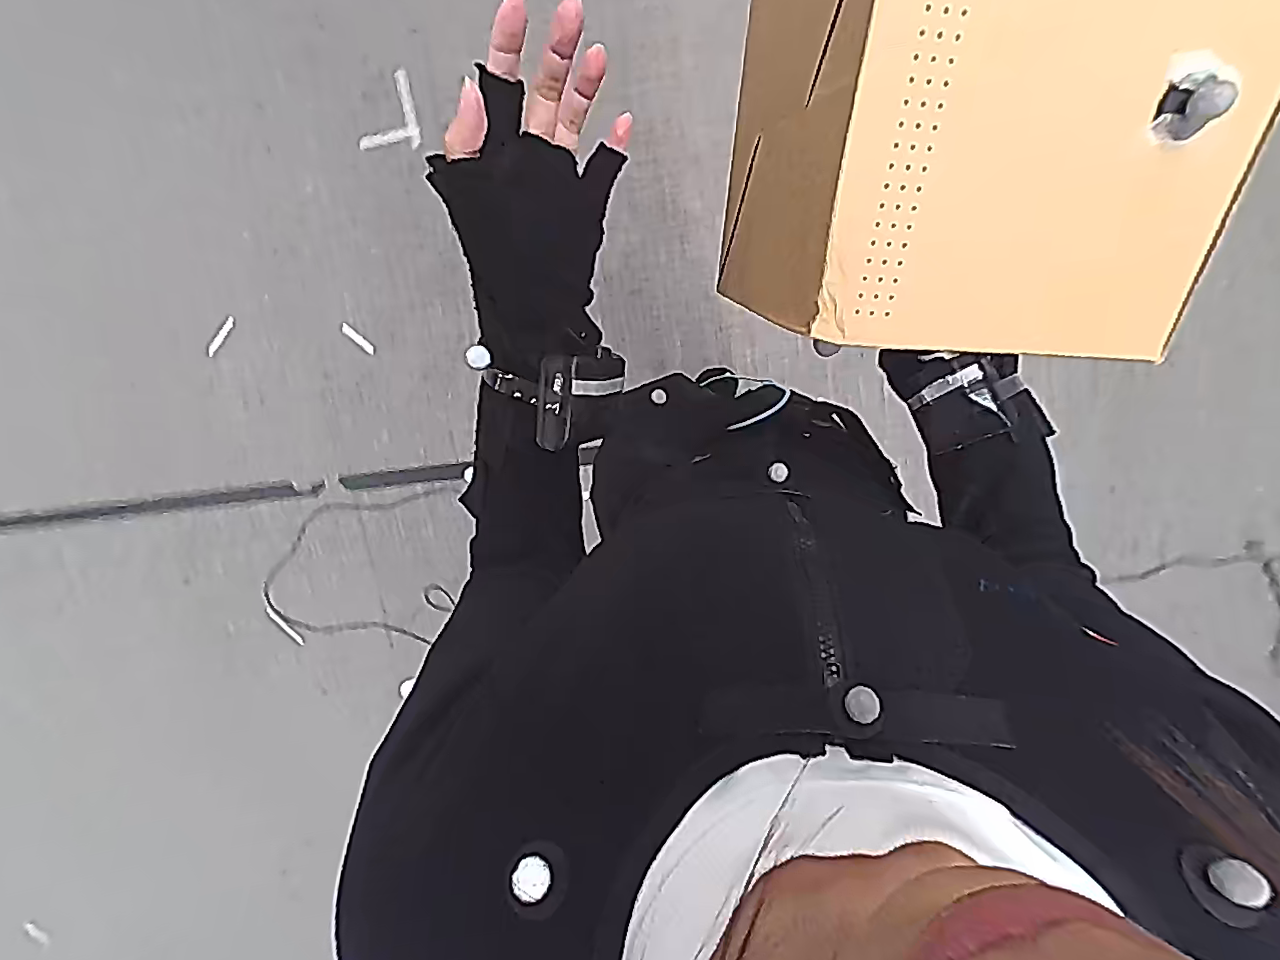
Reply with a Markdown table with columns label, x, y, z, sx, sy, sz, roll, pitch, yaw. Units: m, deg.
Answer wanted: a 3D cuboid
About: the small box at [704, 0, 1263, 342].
| label | x | y | z | sx | sy | sz | roll | pitch | yaw |
| --- | --- | --- | --- | --- | --- | --- | --- | --- | --- |
| small box | 0.136 | -0.173 | 0.278 | 0.176 | 0.168 | 0.179 | 0 | 115 | -6 |
